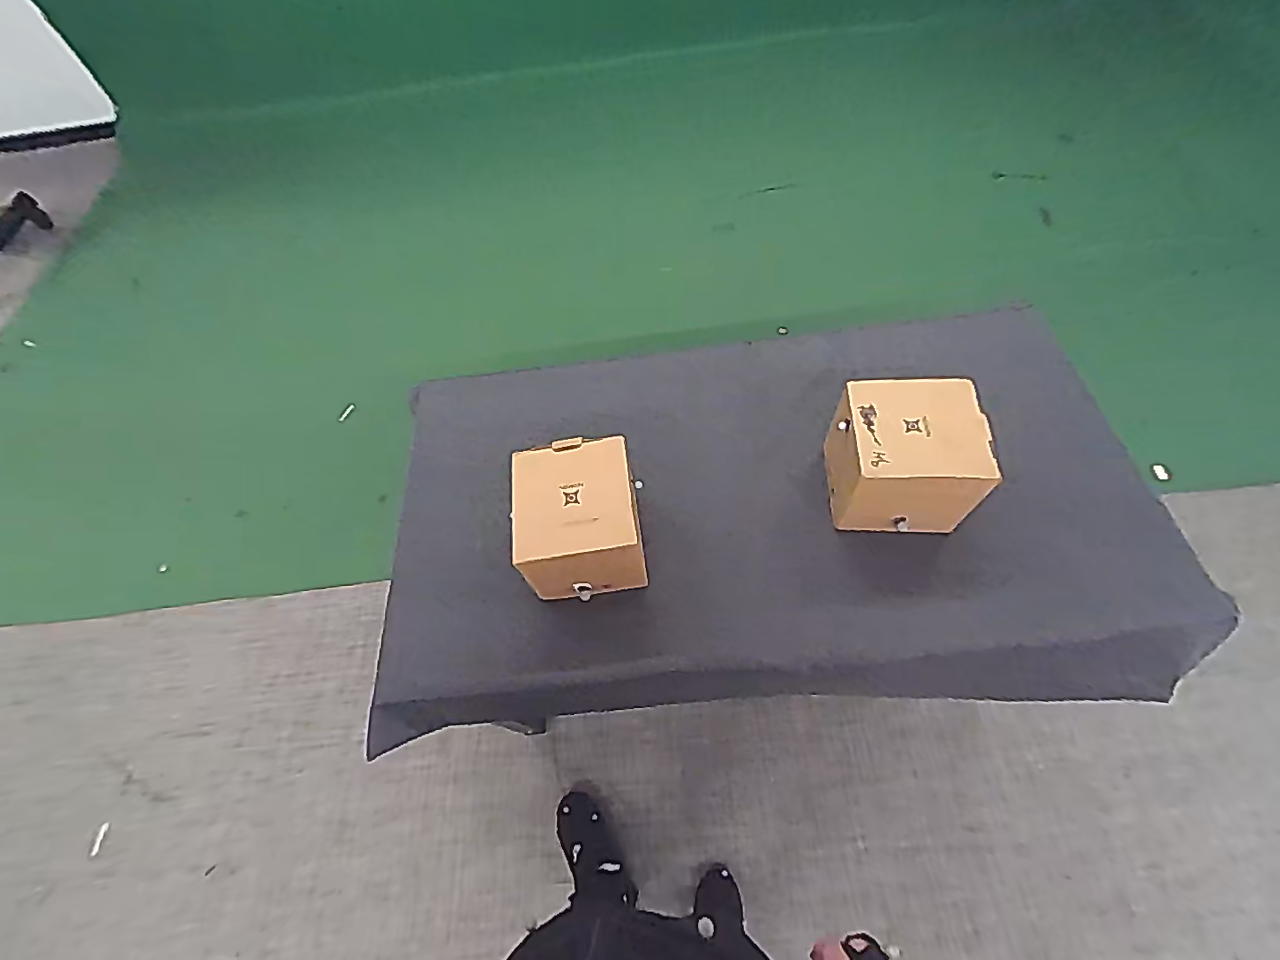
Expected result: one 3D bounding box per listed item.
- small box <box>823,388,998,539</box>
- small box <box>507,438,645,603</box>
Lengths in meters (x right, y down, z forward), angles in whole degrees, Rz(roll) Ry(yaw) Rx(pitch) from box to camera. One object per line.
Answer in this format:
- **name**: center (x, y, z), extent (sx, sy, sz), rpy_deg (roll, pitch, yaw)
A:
- **small box**: center (0.388, -0.020, 0.813), extent (0.179, 0.176, 0.168), rpy_deg (1, 60, 6)
- **small box**: center (-0.087, 0.064, 0.792), extent (0.168, 0.176, 0.179), rpy_deg (-8, 59, 3)
